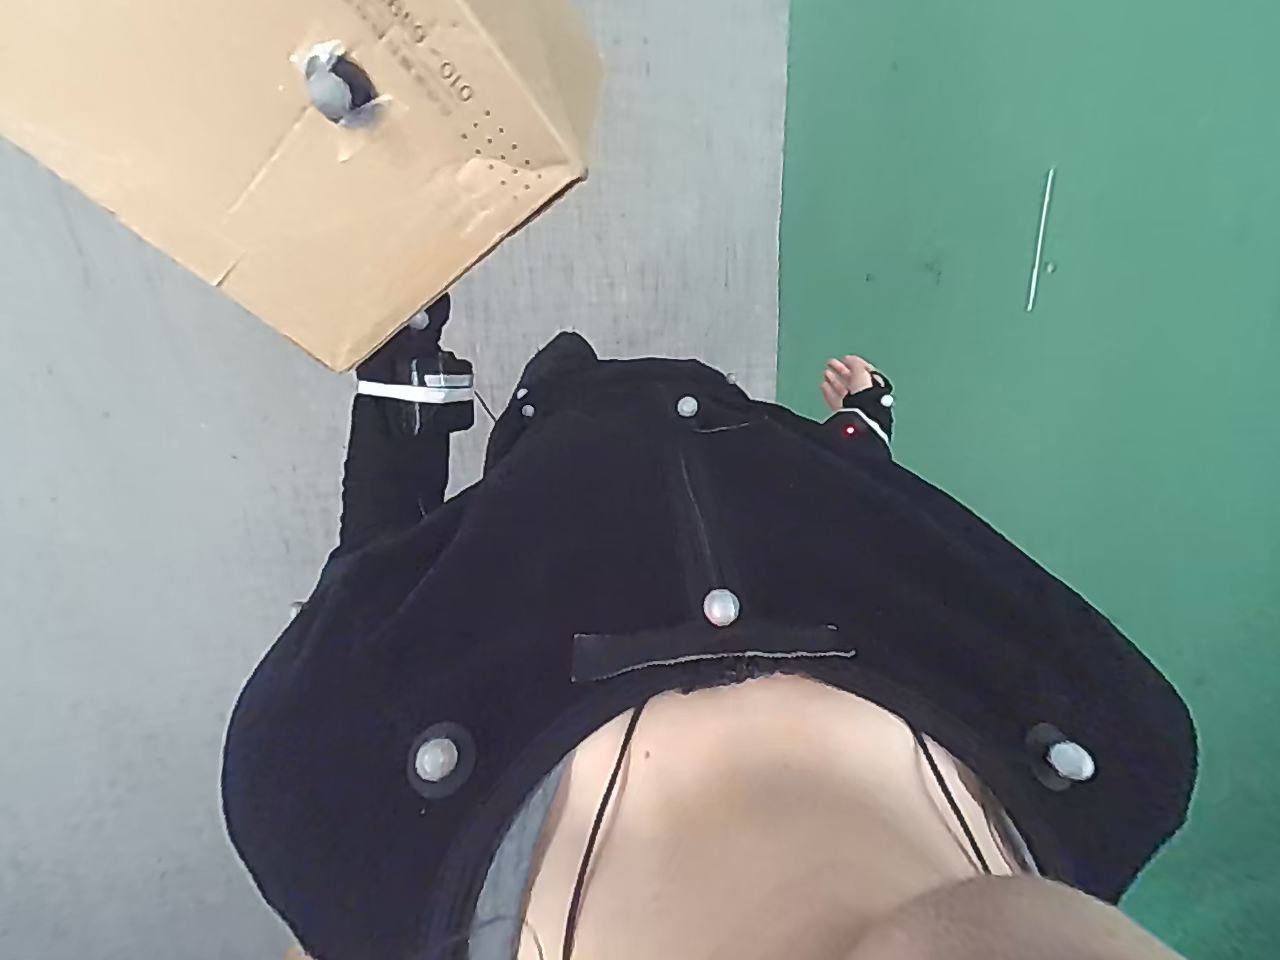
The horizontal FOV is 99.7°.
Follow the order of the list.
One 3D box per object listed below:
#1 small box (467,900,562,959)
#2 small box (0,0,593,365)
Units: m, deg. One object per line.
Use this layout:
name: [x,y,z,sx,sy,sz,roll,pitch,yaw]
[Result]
small box: [-0.230,0.915,0.982,0.168,0.176,0.179,3,103,-11]
small box: [-0.135,-0.195,0.248,0.176,0.179,0.168,-28,130,26]
